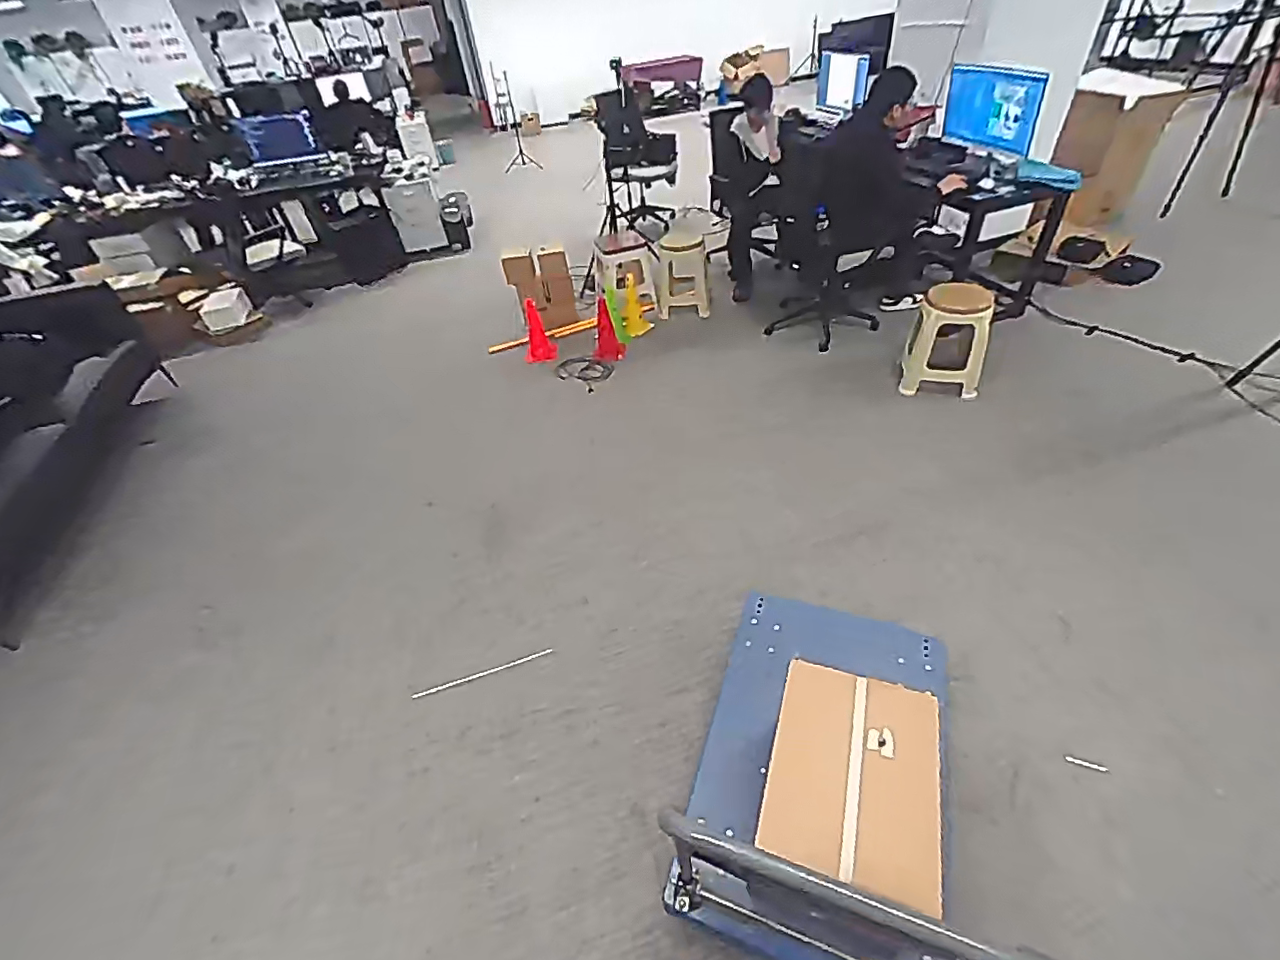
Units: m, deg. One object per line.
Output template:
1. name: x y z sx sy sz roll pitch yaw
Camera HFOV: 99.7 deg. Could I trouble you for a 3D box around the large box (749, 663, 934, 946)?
1. large box: 0.432 0.693 1.185 0.320 0.320 0.408 11 44 19
